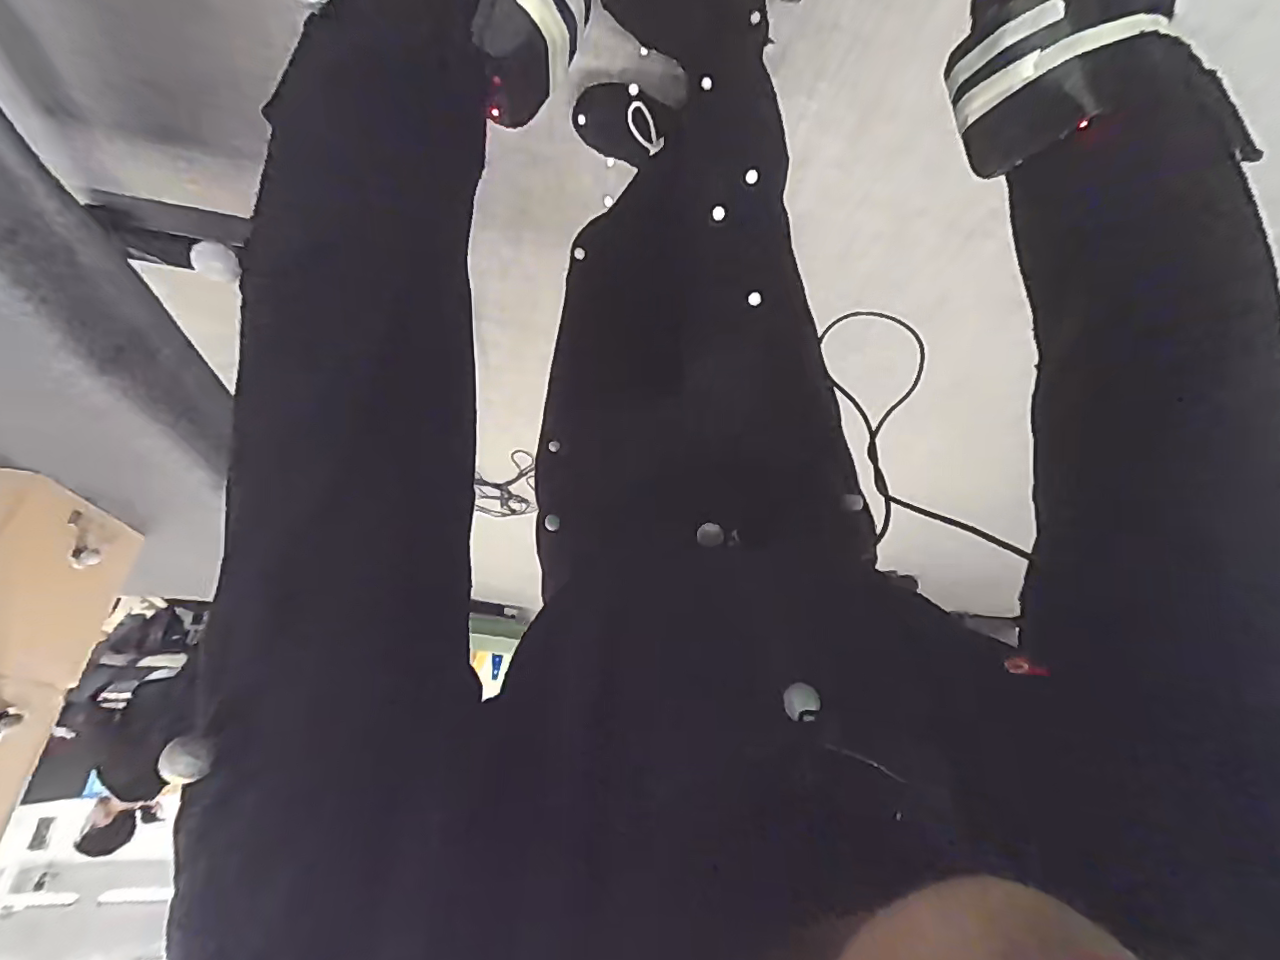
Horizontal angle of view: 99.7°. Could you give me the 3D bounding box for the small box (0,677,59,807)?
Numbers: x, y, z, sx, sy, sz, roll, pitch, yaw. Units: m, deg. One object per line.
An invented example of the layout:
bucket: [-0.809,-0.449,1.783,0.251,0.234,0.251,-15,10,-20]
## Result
small box: [-0.631,0.232,0.411,0.179,0.176,0.168,5,152,-11]

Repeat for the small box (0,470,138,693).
small box: [-0.631,0.091,0.493,0.179,0.176,0.168,5,151,-10]
